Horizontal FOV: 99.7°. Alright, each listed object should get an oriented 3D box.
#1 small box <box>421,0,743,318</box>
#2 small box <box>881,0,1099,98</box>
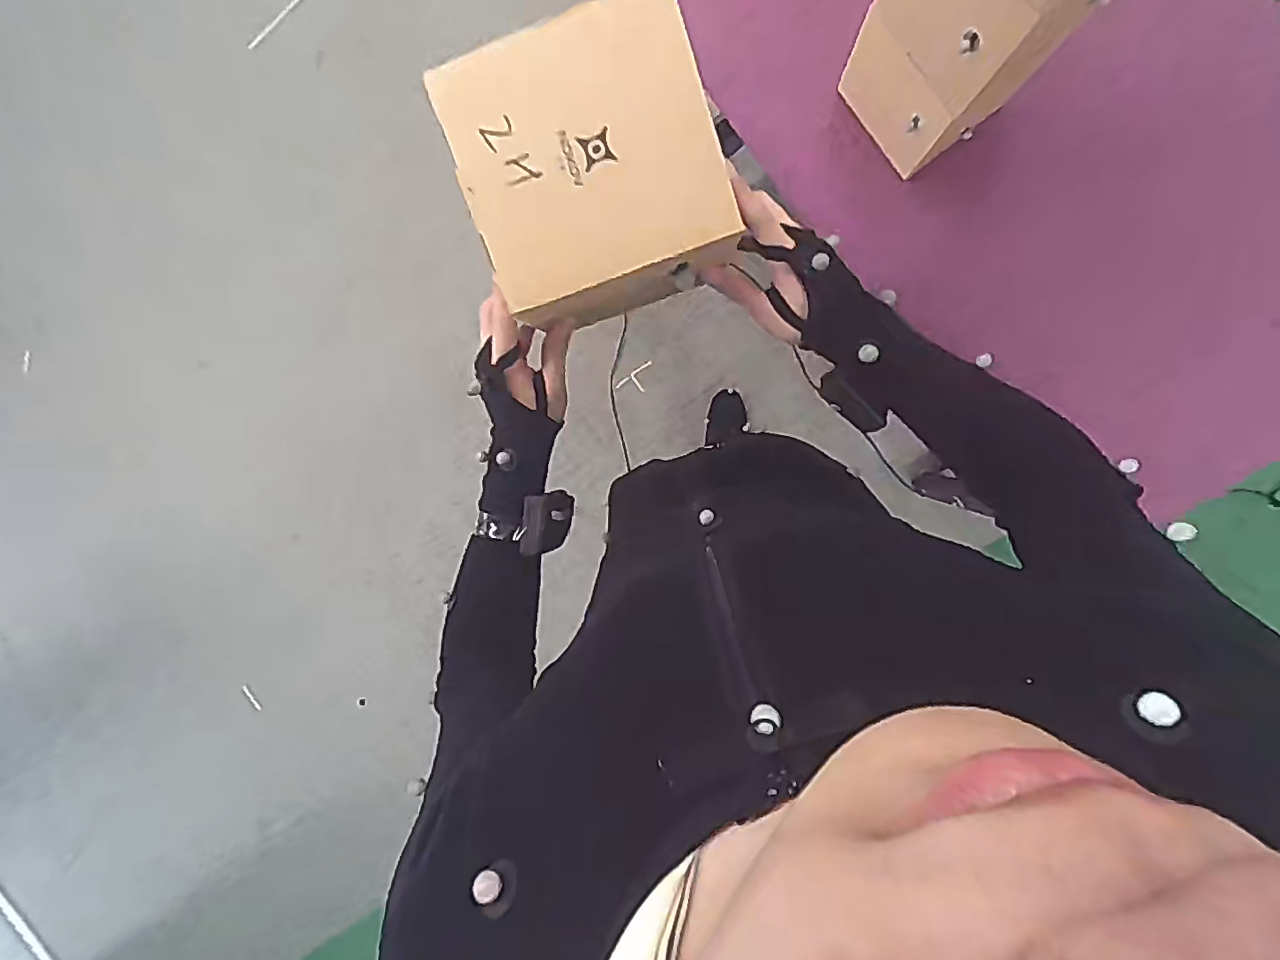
[{"bbox_3d":[-0.034,-0.241,0.431,0.179,0.176,0.168,-17,99,6],"label":"small box"},{"bbox_3d":[0.387,-0.544,0.558,0.168,0.176,0.179,-36,90,9],"label":"small box"}]
